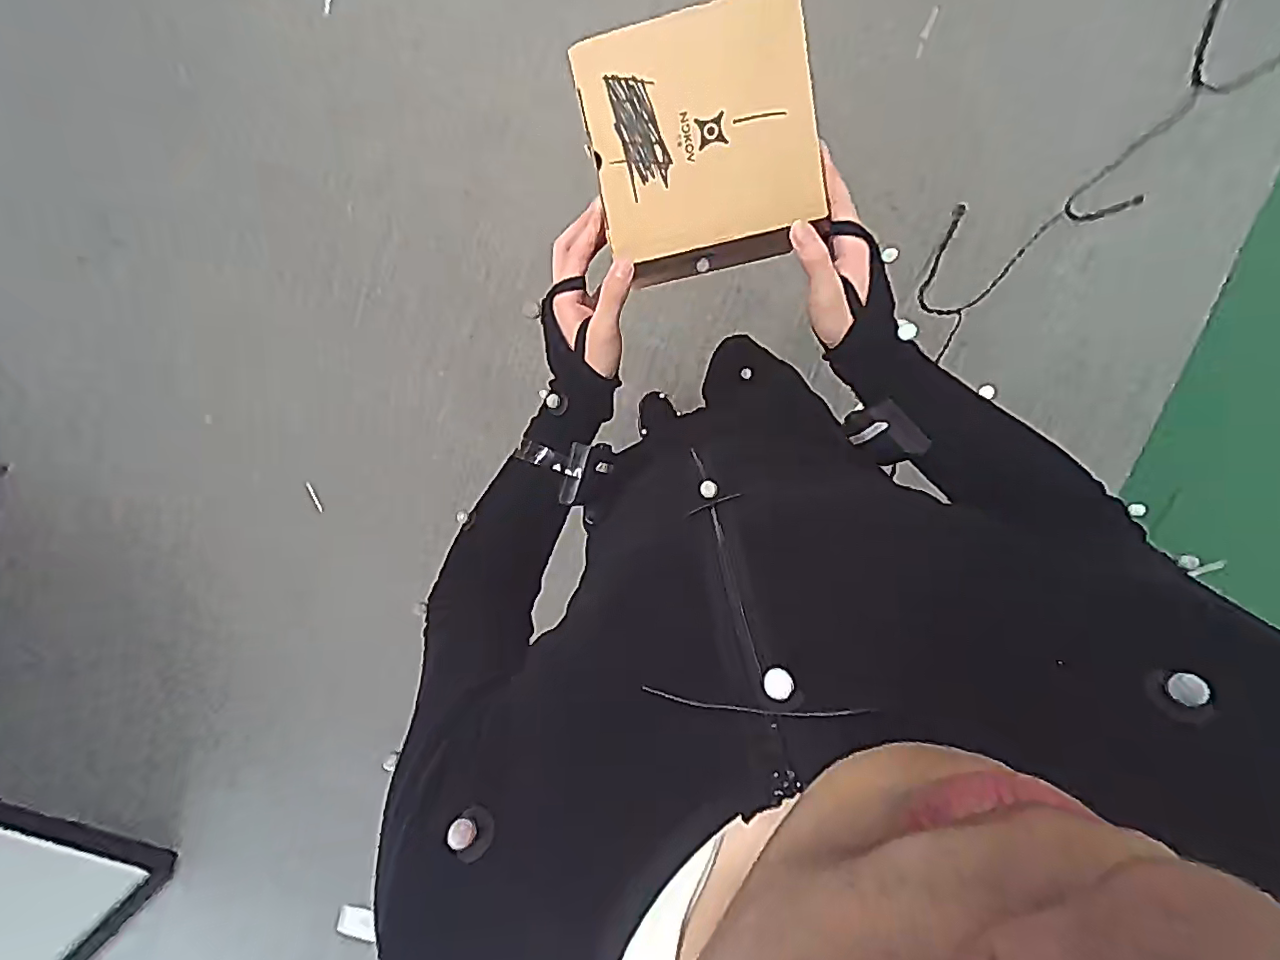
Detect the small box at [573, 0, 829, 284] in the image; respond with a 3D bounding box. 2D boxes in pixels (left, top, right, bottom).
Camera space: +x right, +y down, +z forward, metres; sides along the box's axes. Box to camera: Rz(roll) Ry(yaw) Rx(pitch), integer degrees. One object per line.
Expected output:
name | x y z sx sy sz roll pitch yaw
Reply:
small box | 0.055 -0.286 0.491 0.179 0.176 0.168 -10 103 7
